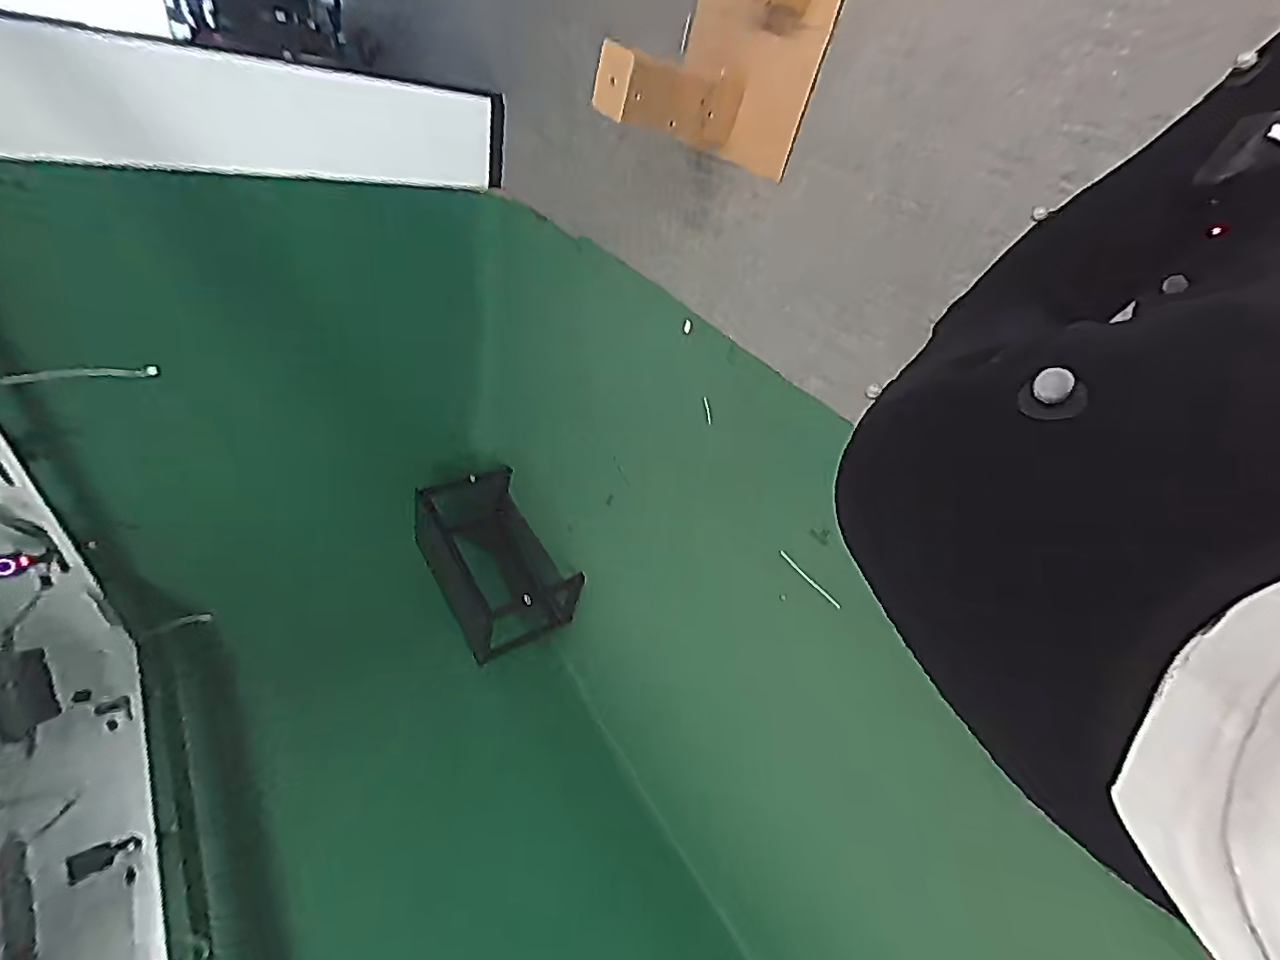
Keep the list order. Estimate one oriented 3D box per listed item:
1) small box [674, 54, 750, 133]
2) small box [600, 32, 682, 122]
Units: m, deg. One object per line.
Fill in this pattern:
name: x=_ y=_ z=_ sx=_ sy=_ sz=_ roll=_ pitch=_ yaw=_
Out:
small box: x=0.251 y=-1.327 z=1.867 sx=0.168 sy=0.176 sz=0.179 roll=50 pitch=139 yaw=29
small box: x=0.003 y=-1.238 z=1.671 sx=0.168 sy=0.176 sz=0.179 roll=51 pitch=140 yaw=27
